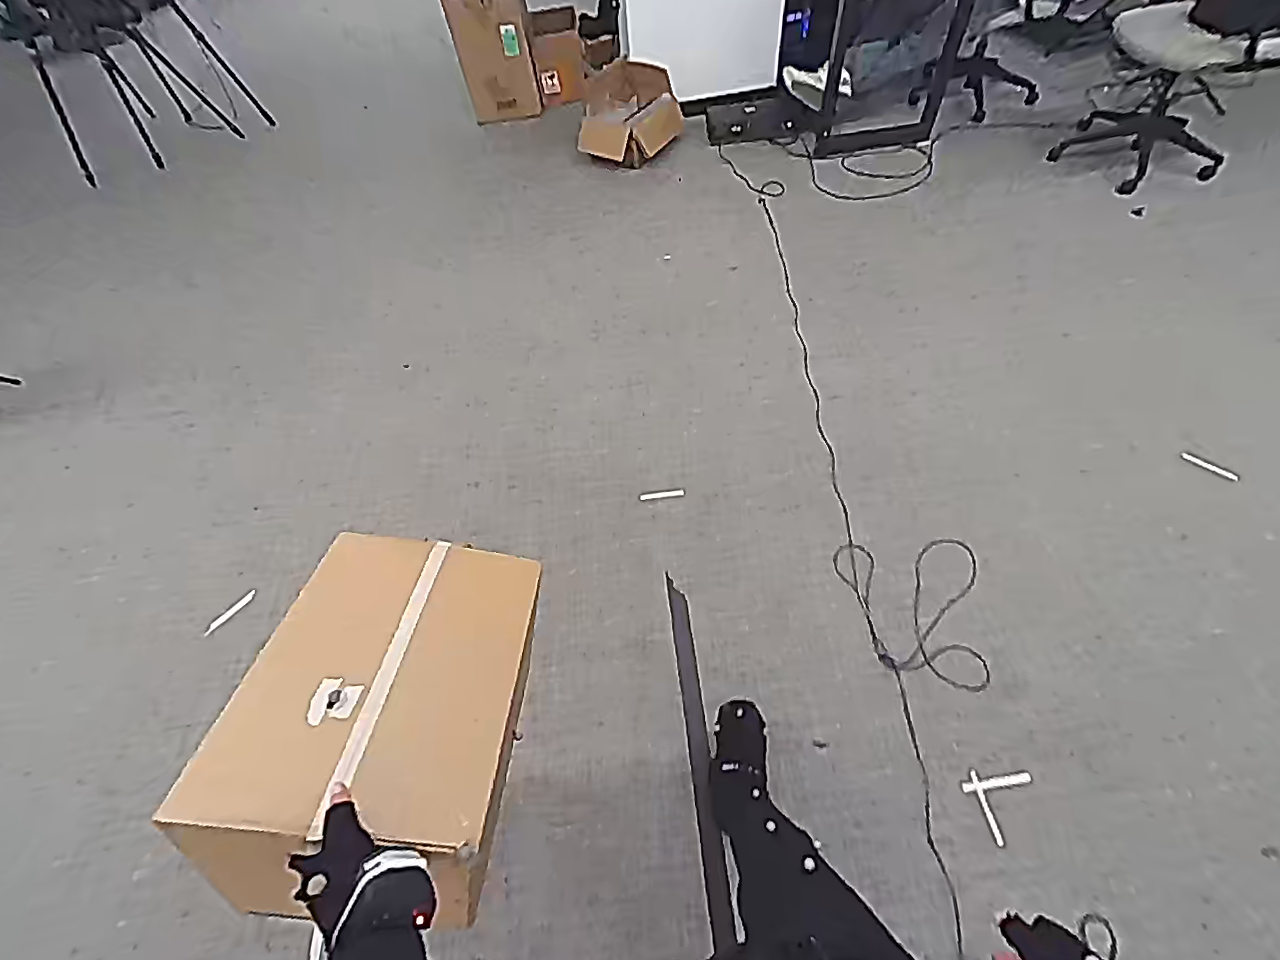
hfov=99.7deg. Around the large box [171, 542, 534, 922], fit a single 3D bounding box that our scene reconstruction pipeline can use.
[{"bbox_3d":[-0.351,0.357,0.800,0.320,0.320,0.408,9,39,-6],"label":"large box"}]
